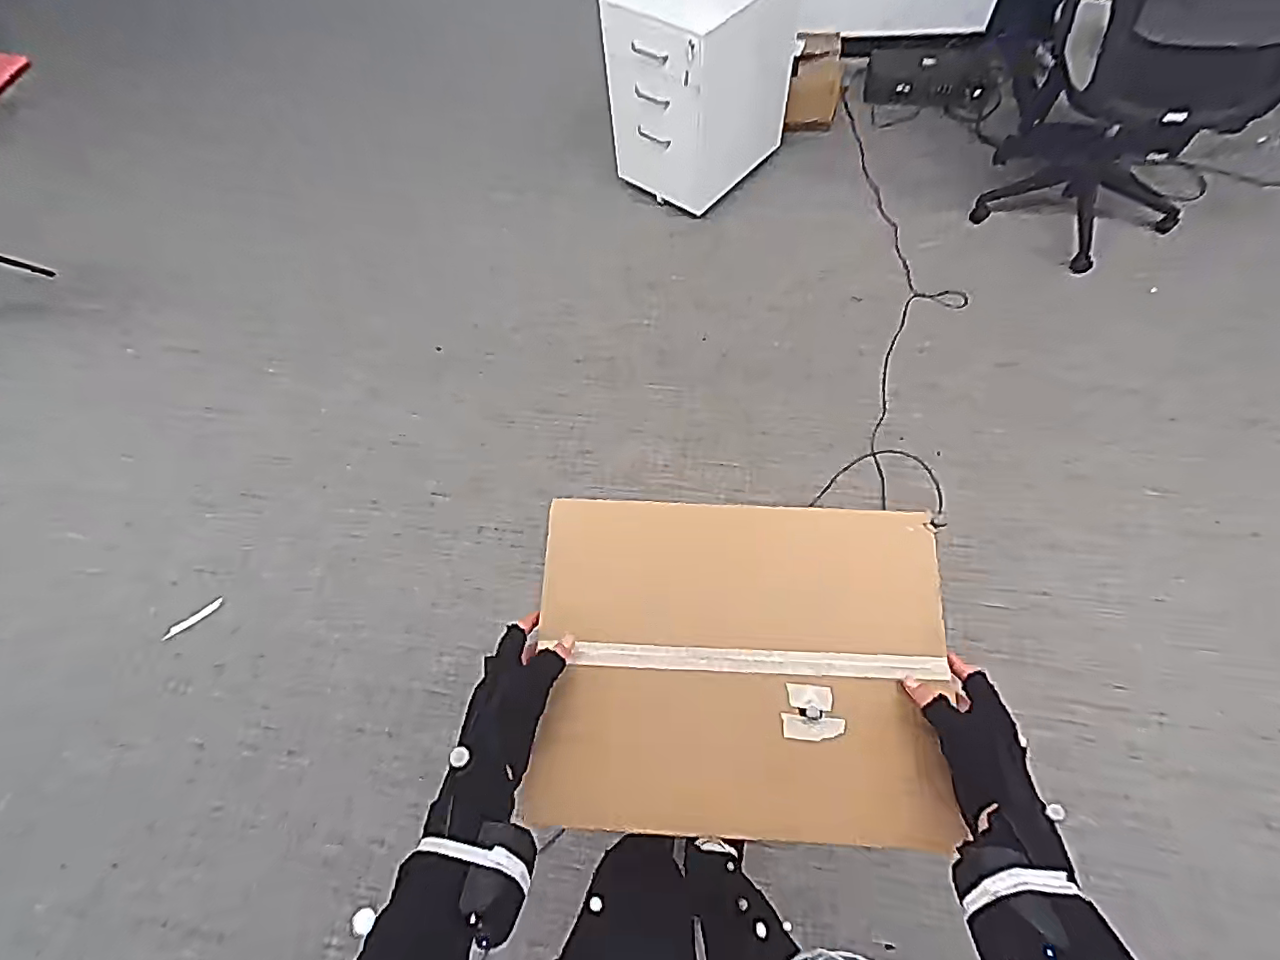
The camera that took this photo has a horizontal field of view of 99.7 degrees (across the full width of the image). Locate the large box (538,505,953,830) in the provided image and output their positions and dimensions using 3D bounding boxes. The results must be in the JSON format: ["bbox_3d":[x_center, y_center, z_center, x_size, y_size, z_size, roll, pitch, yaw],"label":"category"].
[{"bbox_3d":[0.105,0.223,0.698,0.408,0.320,0.320,2,74,2],"label":"large box"}]
